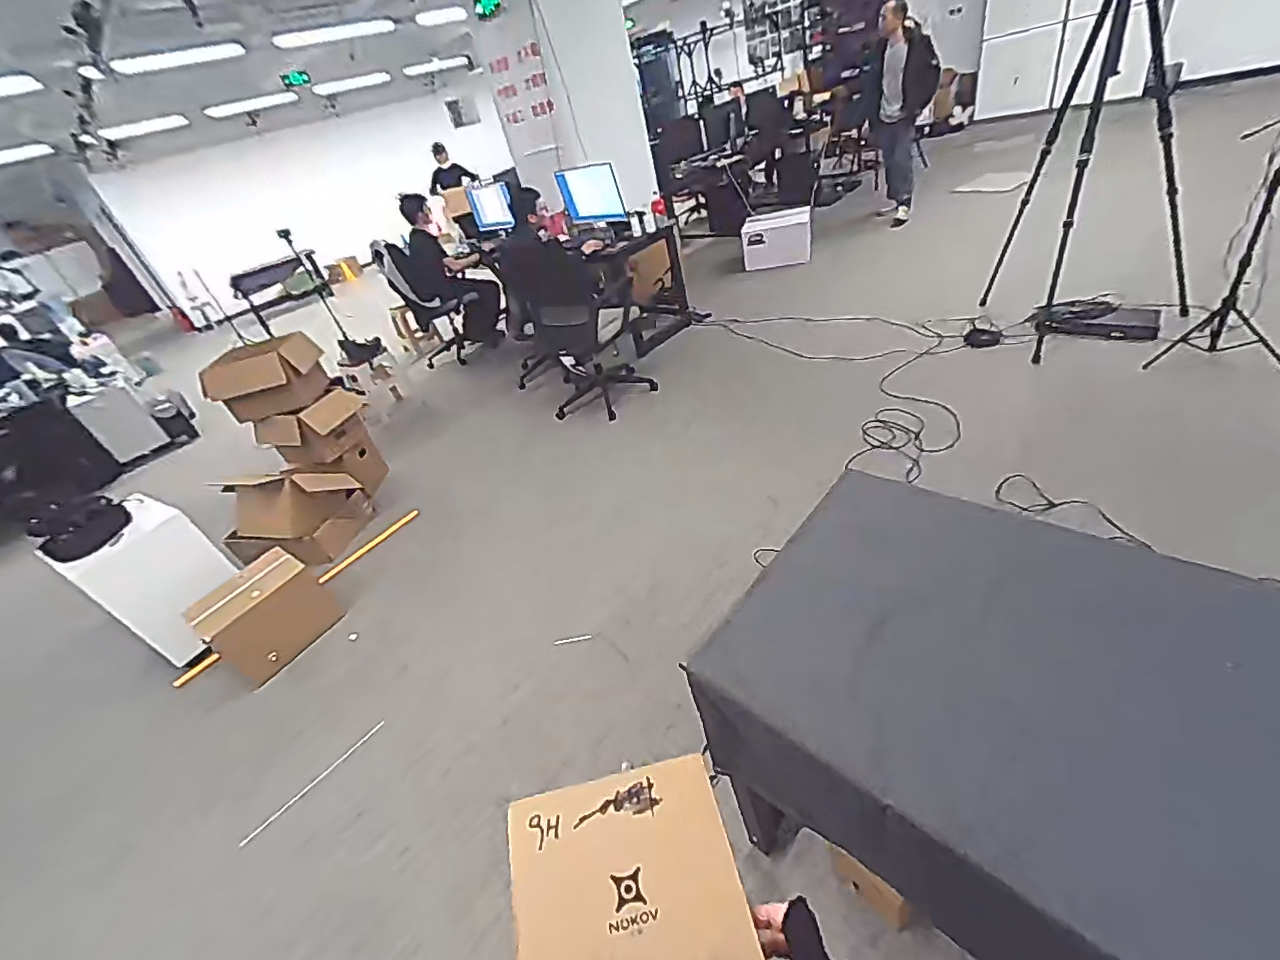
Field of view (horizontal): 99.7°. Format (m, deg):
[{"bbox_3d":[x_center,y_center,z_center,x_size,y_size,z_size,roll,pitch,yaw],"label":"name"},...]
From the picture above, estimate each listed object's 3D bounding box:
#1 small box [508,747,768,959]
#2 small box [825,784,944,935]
[{"bbox_3d":[-0.005,0.349,0.434,0.168,0.176,0.179,-10,46,-9],"label":"small box"},{"bbox_3d":[0.519,0.810,1.159,0.179,0.176,0.168,-33,36,-23],"label":"small box"}]
